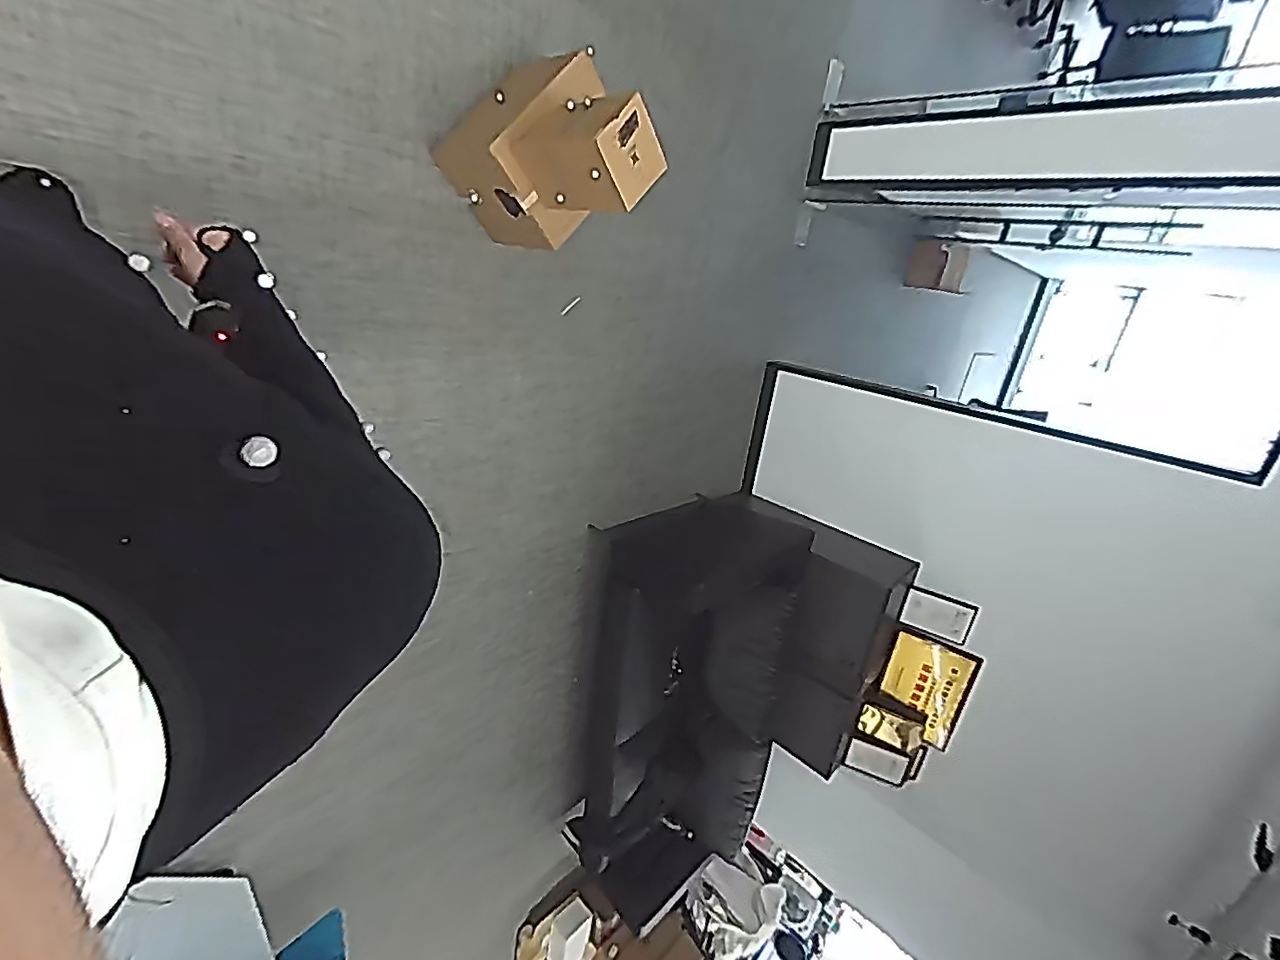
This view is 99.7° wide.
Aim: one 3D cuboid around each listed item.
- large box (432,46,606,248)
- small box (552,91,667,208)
[{"bbox_3d":[-0.308,-0.941,1.564,0.408,0.320,0.320,-55,142,-13],"label":"large box"},{"bbox_3d":[-0.073,-0.765,1.266,0.168,0.176,0.179,-54,141,-14],"label":"small box"}]
